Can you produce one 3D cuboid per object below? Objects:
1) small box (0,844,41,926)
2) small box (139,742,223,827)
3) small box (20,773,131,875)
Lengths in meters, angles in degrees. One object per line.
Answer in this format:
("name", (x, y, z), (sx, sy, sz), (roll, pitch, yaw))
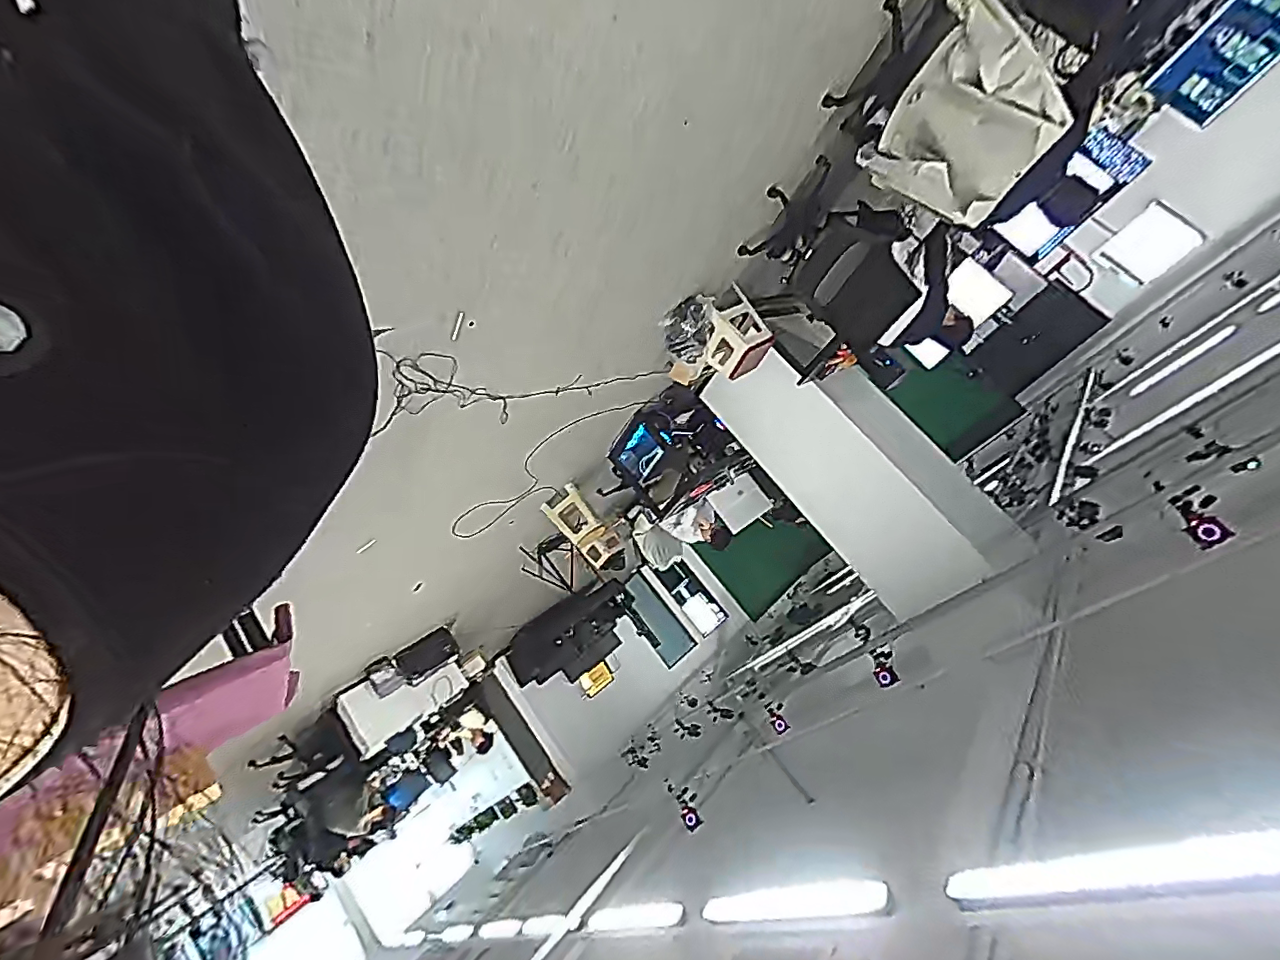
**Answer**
("small box", (-1.821, 1.151, 1.495), (0.168, 0.176, 0.179), (-26, 160, -45))
("small box", (-1.527, 1.008, 1.802), (0.168, 0.176, 0.179), (-25, 157, -44))
("small box", (-1.582, 0.960, 1.518), (0.168, 0.176, 0.179), (-25, 161, -45))
